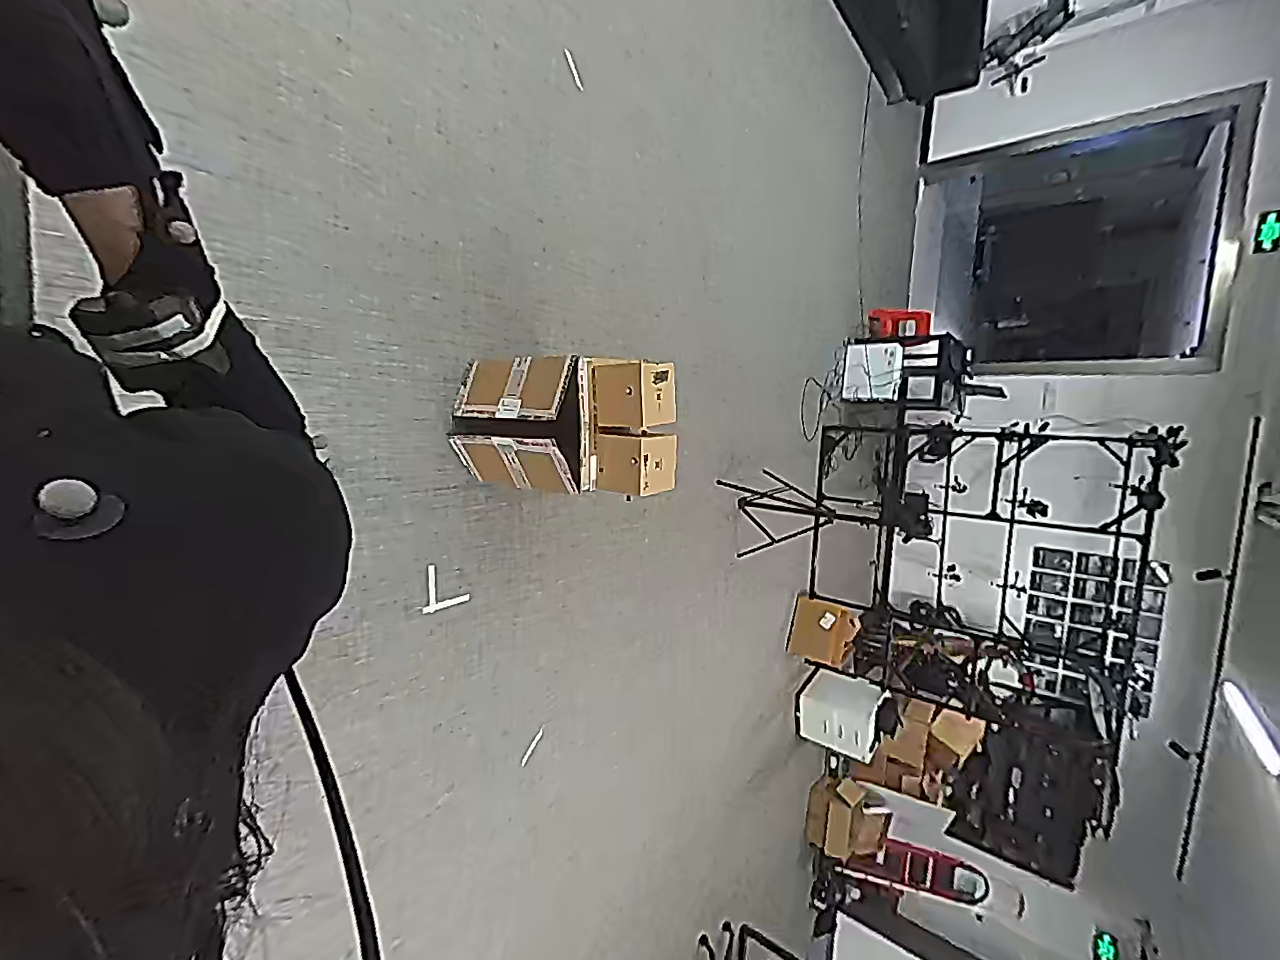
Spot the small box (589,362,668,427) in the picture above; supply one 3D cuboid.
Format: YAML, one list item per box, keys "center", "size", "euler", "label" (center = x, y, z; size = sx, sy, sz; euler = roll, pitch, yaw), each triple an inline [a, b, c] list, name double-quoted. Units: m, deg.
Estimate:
- center: [-0.034, -0.246, 1.559]
  size: [0.168, 0.176, 0.179]
  euler: [-16, 107, -52]
  label: "small box"

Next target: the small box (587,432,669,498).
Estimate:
- center: [-0.035, -0.051, 1.593]
  size: [0.179, 0.176, 0.168]
  euler: [-11, 106, -53]
  label: "small box"
